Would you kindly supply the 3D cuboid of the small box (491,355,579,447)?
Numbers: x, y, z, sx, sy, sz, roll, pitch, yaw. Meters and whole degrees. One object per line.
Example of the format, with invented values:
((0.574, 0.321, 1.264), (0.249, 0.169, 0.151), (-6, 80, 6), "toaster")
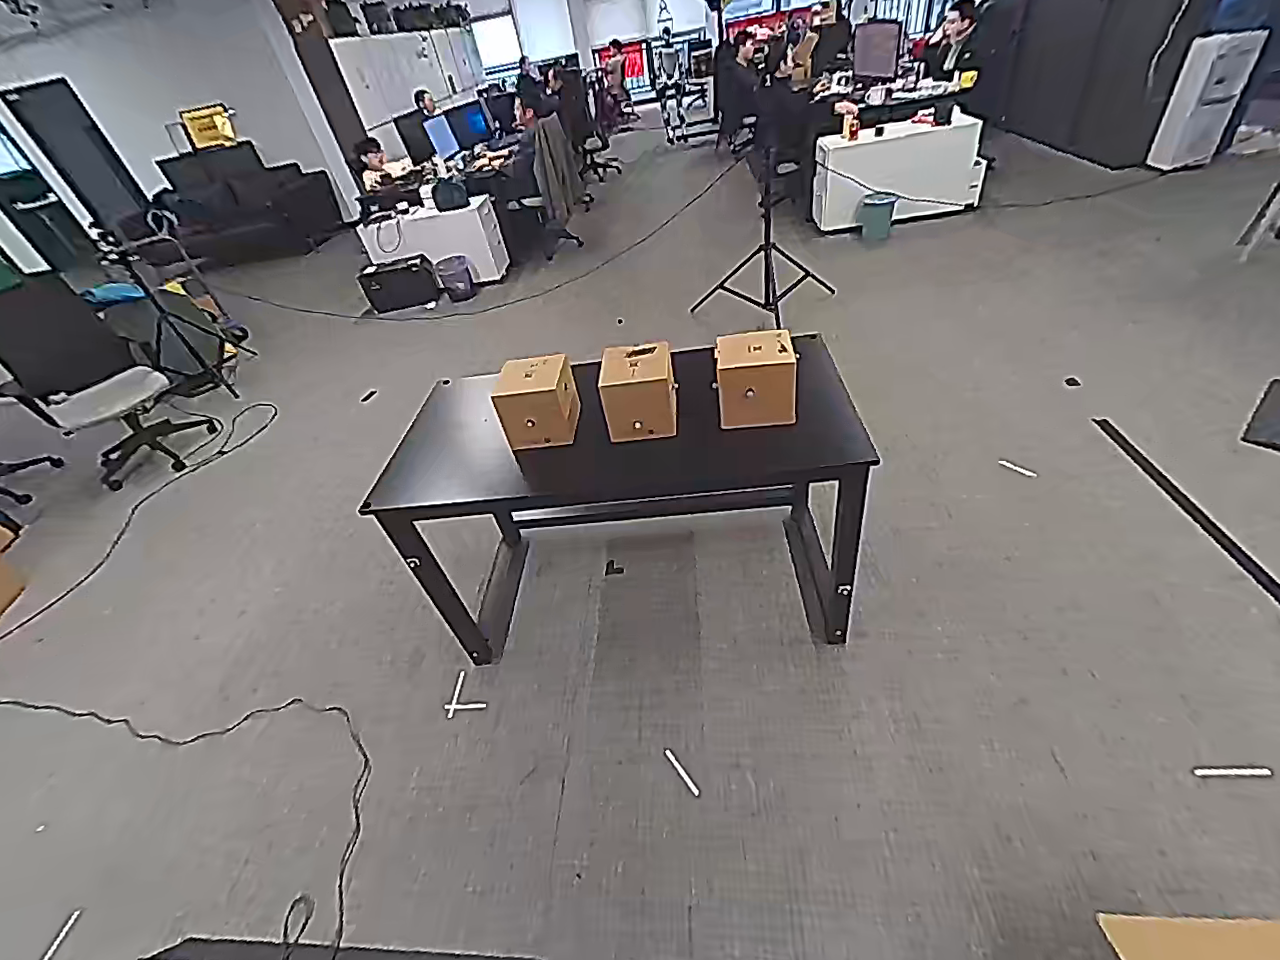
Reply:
((-0.261, -0.197, 1.395), (0.168, 0.176, 0.179), (-5, 40, 8), "small box")

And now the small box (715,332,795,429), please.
((0.277, -0.238, 1.311), (0.179, 0.176, 0.168), (-4, 40, 11), "small box")

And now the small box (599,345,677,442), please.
((0.000, -0.215, 1.352), (0.168, 0.176, 0.179), (-5, 41, 8), "small box")
